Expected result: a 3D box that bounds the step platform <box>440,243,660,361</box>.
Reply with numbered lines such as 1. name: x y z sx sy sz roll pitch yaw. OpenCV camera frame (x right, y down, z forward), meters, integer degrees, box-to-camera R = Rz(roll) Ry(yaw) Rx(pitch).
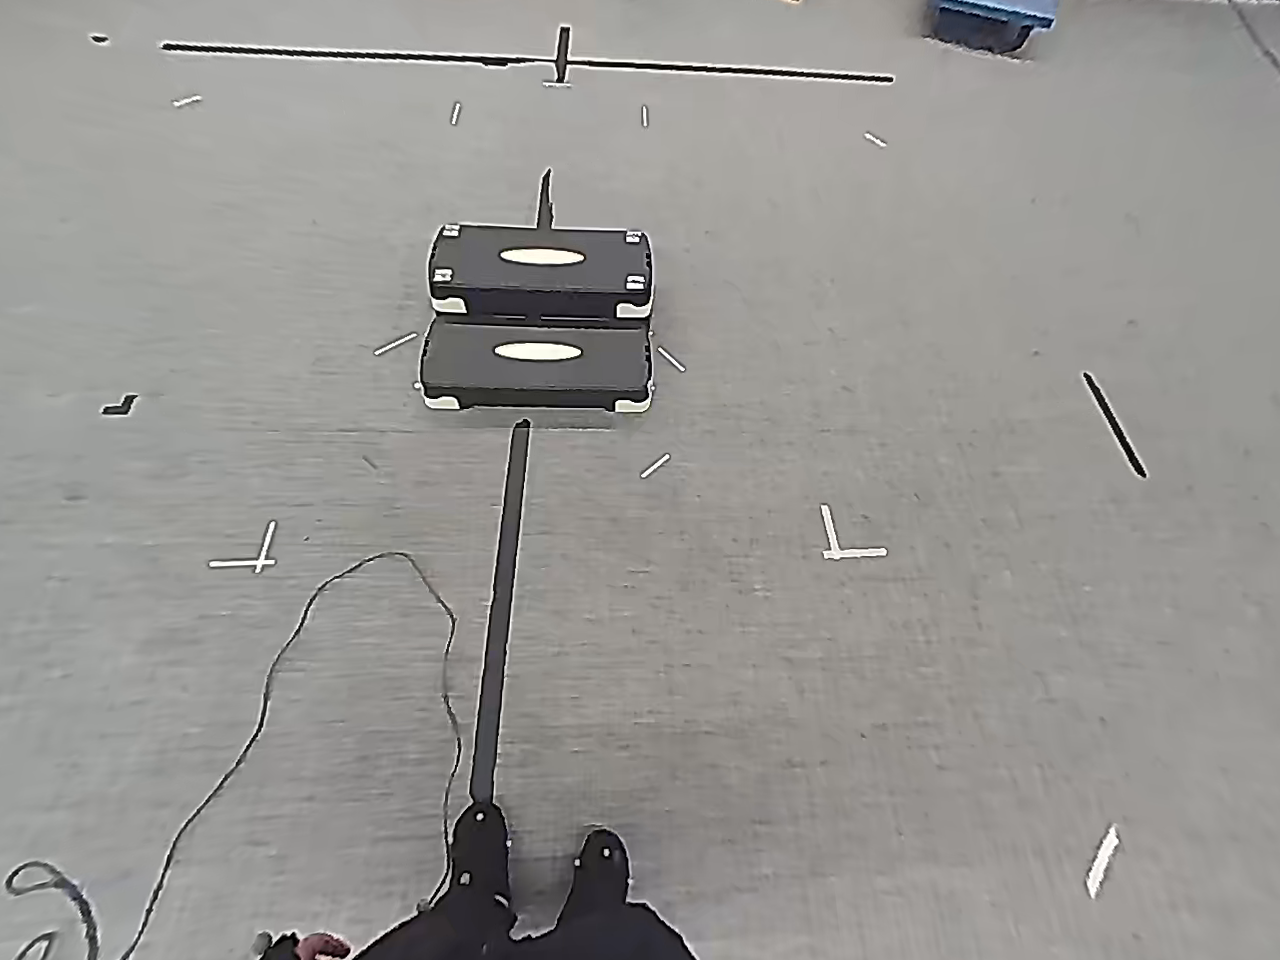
1. step platform: -0.277 -0.573 1.740 0.684 0.204 0.286 5 60 -2
